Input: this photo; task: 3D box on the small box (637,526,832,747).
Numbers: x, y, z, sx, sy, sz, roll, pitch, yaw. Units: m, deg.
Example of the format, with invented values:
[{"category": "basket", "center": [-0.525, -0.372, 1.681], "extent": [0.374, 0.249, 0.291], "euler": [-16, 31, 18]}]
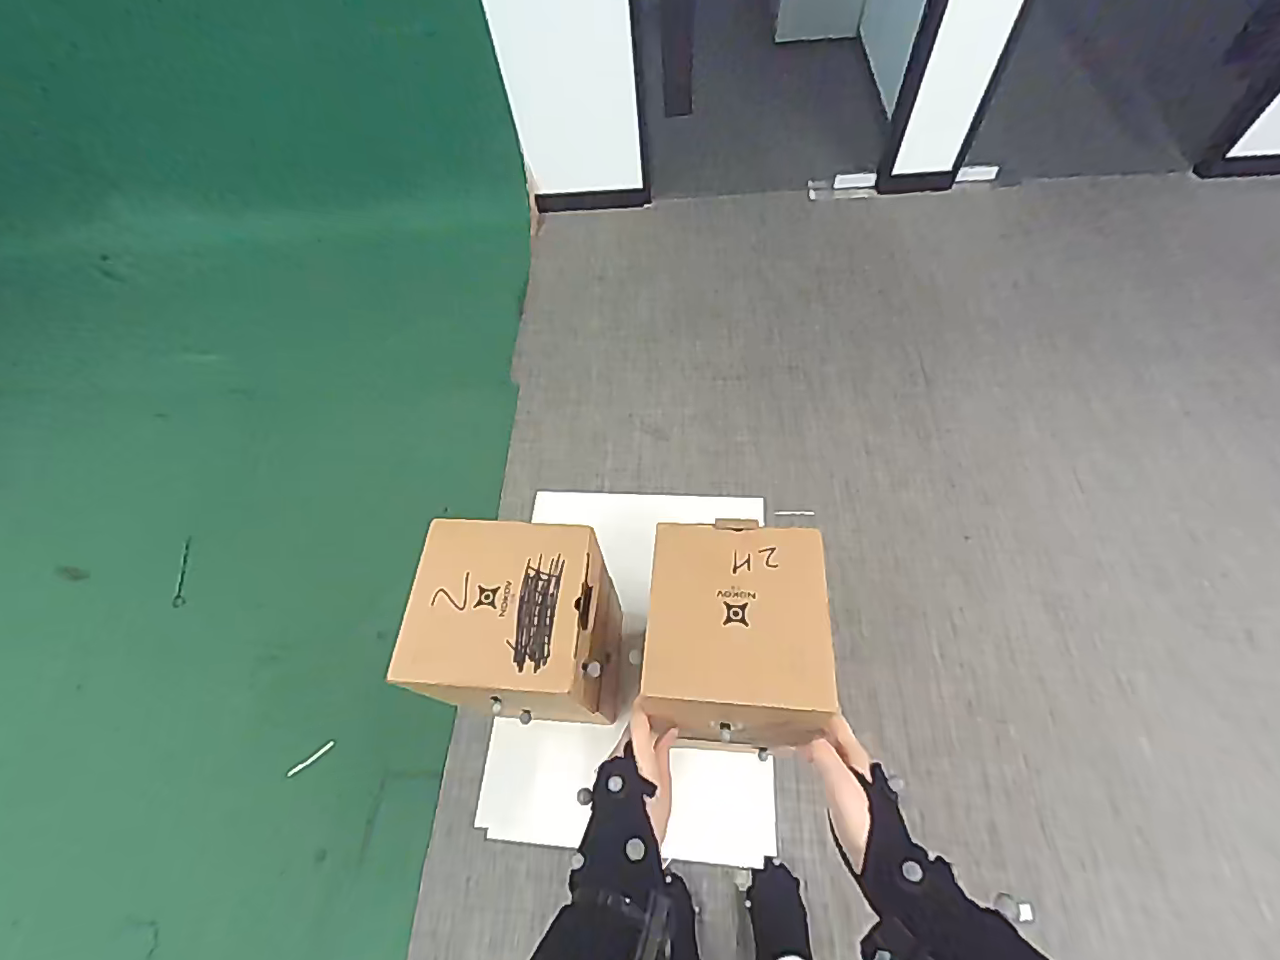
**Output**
[{"category": "small box", "center": [0.094, 0.167, 0.562], "extent": [0.168, 0.176, 0.179], "euler": [2, 55, 7]}]

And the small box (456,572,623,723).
[{"category": "small box", "center": [-0.123, 0.234, 0.740], "extent": [0.179, 0.176, 0.168], "euler": [2, 62, 5]}]
